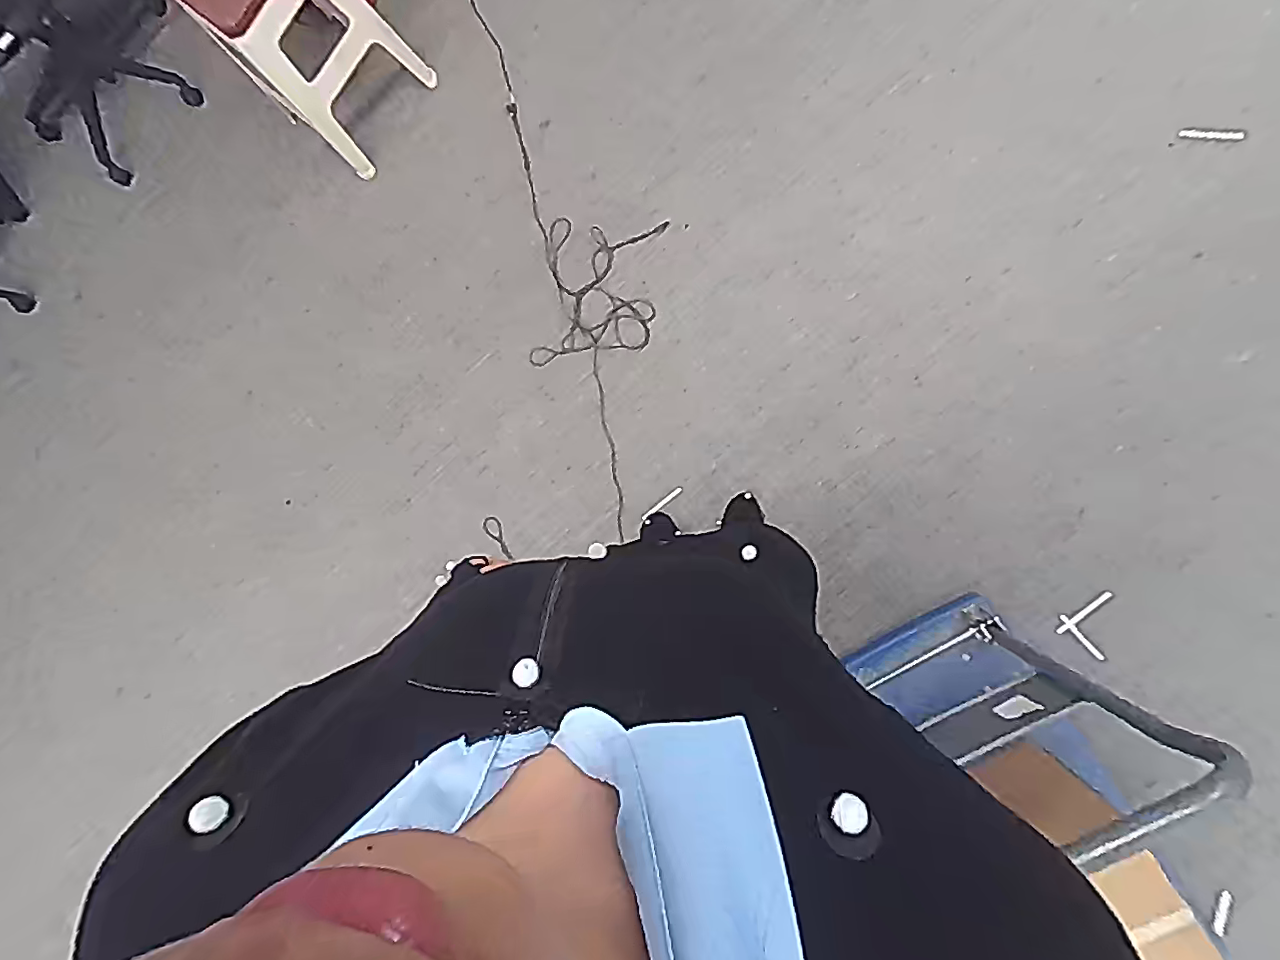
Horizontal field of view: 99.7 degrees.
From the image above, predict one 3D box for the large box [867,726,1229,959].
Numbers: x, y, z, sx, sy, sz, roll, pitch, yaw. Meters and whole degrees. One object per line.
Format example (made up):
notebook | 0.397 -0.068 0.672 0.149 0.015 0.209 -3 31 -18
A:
large box | 0.737 0.767 1.062 0.408 0.320 0.320 -32 84 6
